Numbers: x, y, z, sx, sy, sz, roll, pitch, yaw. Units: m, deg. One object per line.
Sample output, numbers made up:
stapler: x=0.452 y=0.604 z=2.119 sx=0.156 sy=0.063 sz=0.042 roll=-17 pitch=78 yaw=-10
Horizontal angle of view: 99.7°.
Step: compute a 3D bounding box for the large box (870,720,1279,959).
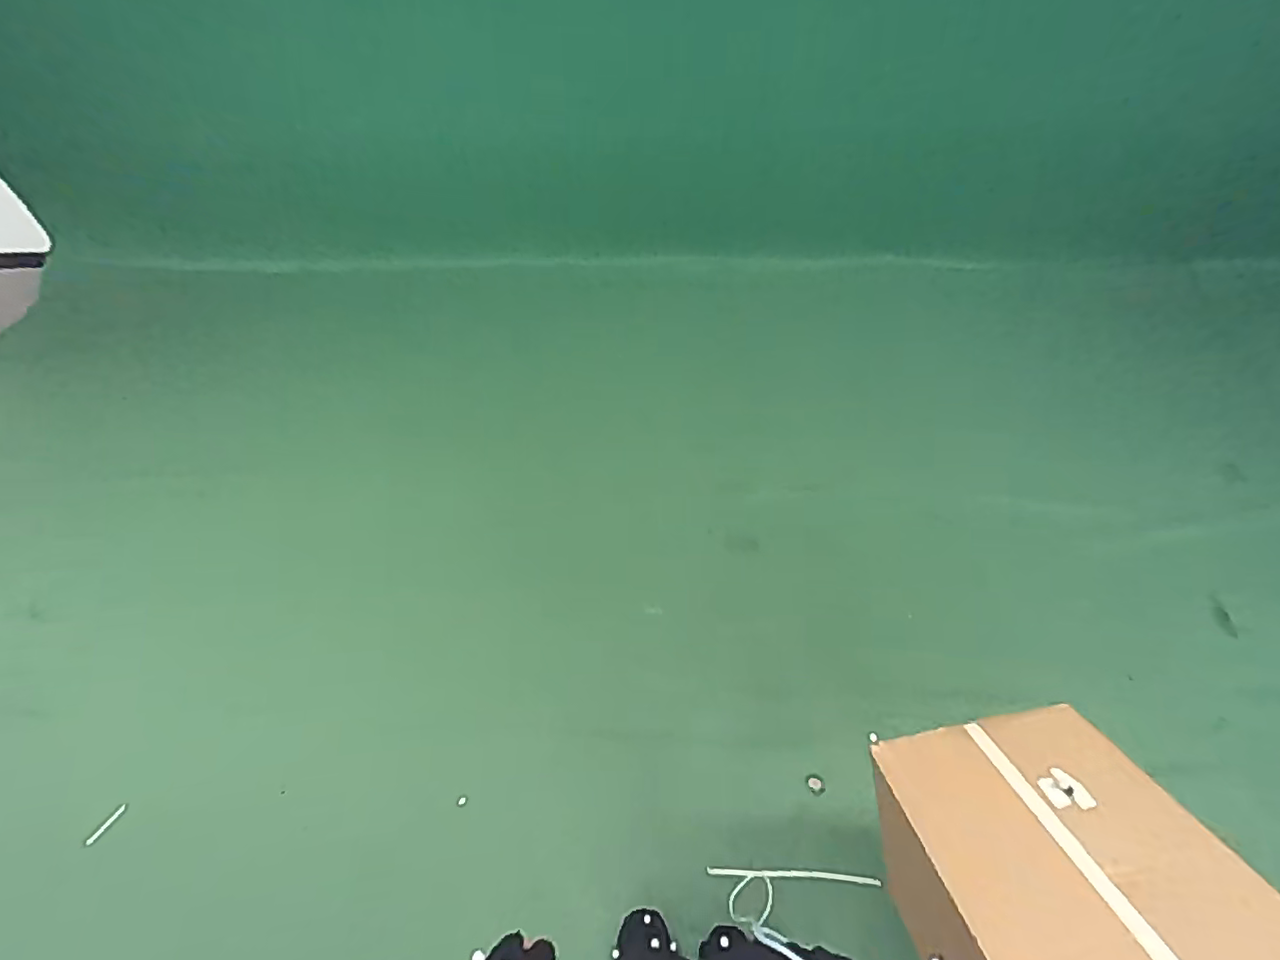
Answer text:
large box: x=0.552 y=0.603 z=0.699 sx=0.320 sy=0.320 sz=0.408 roll=-12 pitch=16 yaw=2
